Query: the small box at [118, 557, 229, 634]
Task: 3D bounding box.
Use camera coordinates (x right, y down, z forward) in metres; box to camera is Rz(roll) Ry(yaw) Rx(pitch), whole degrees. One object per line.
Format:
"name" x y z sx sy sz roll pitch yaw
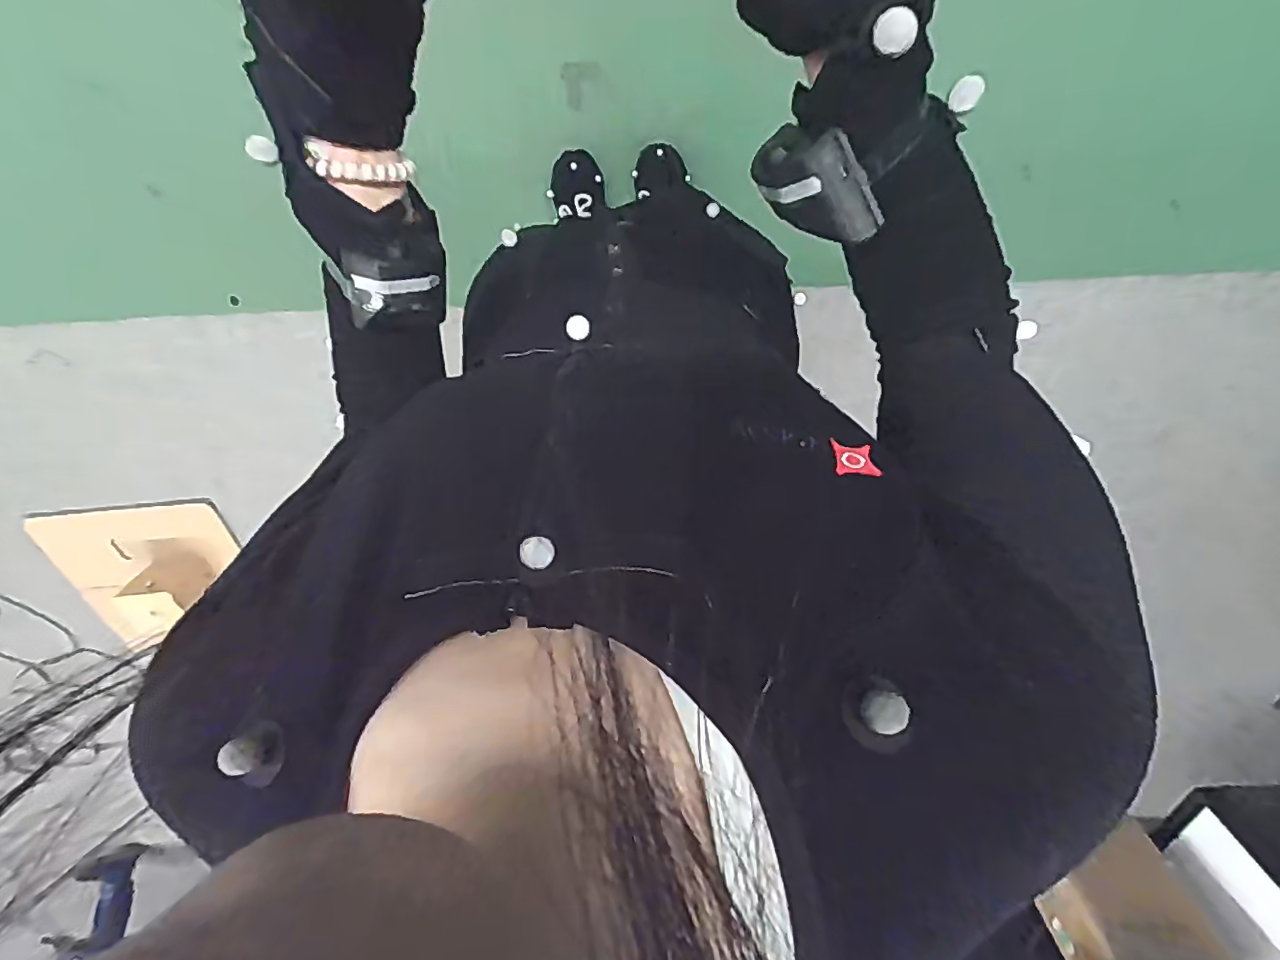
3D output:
"small box" -1.491 0.370 1.742 0.179 0.176 0.168 -7 122 1
